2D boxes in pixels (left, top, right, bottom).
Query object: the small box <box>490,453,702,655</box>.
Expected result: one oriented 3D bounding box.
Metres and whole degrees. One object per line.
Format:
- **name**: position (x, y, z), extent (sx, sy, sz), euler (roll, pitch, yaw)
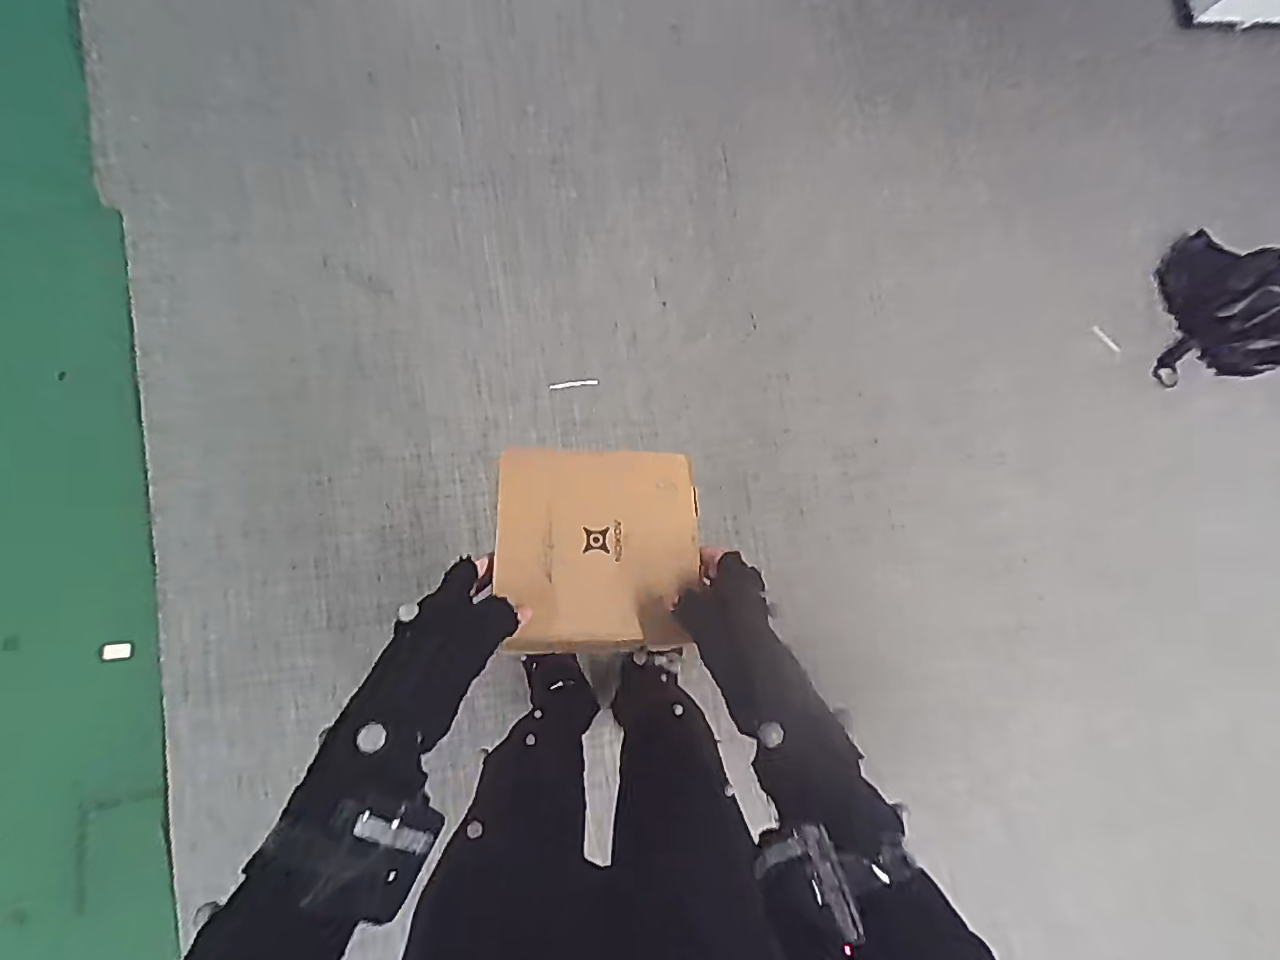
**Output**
- **small box**: position (-0.048, 0.083, 0.539), extent (0.179, 0.176, 0.168), euler (0, 68, -8)
